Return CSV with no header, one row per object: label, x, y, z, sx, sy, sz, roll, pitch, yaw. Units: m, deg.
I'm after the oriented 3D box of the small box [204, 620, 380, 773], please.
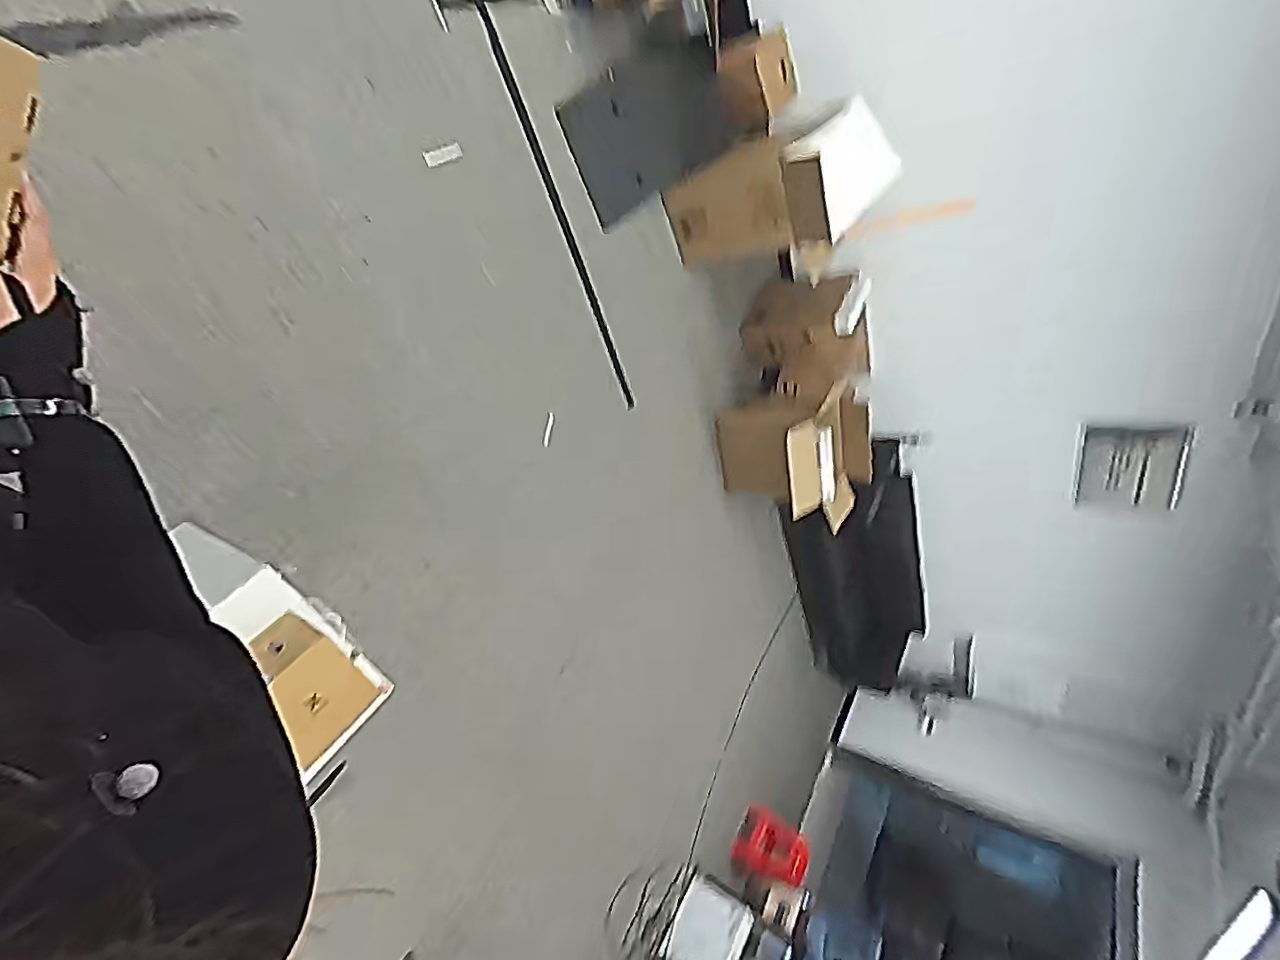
small box,-0.609,0.367,0.950,0.168,0.176,0.179,-49,132,-36
